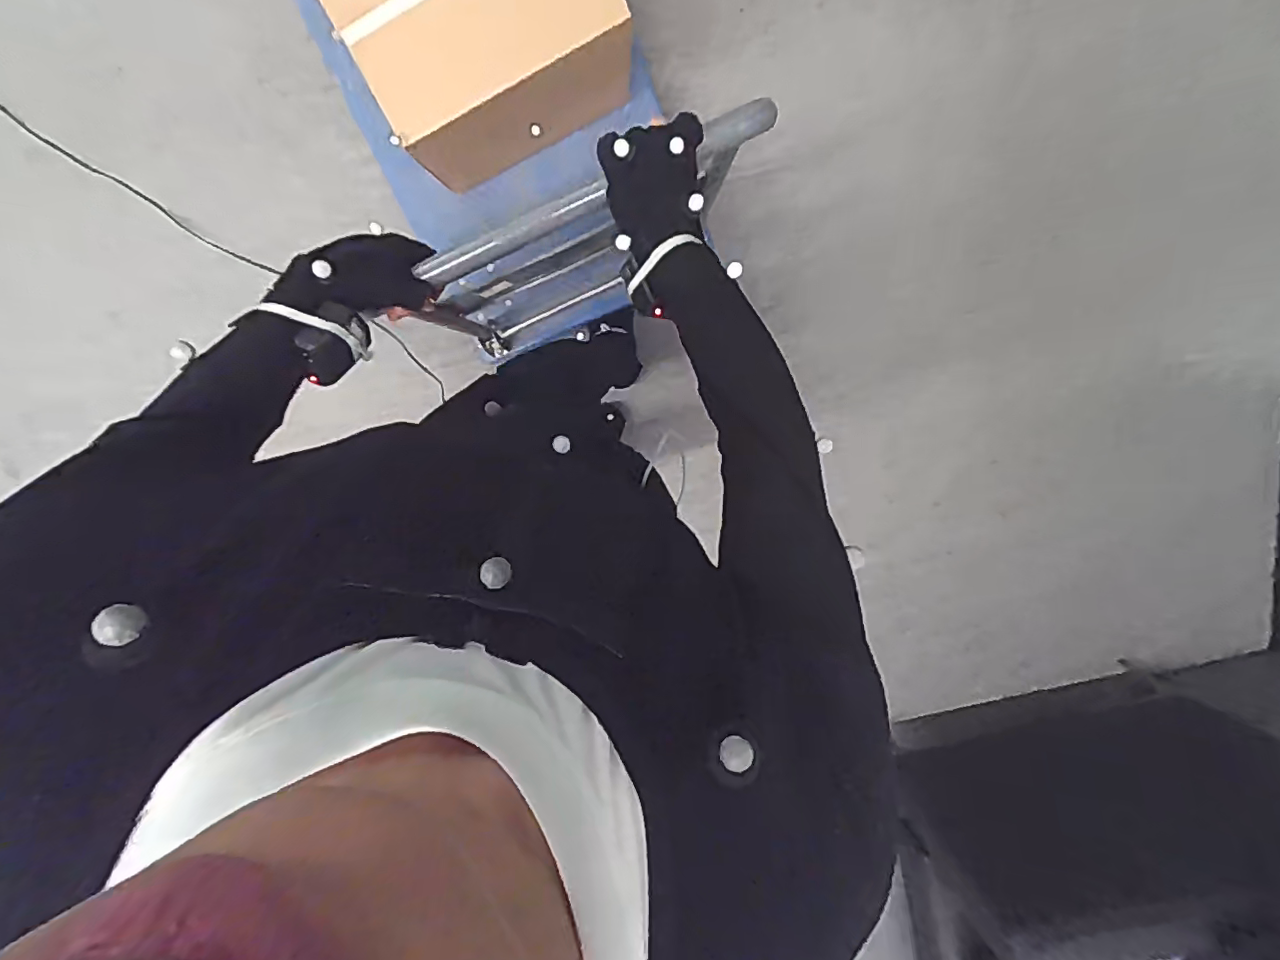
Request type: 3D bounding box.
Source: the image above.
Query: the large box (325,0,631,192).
[{"bbox_3d":[-0.262,-0.778,0.936,0.408,0.320,0.320,-27,104,5],"label":"large box"}]
